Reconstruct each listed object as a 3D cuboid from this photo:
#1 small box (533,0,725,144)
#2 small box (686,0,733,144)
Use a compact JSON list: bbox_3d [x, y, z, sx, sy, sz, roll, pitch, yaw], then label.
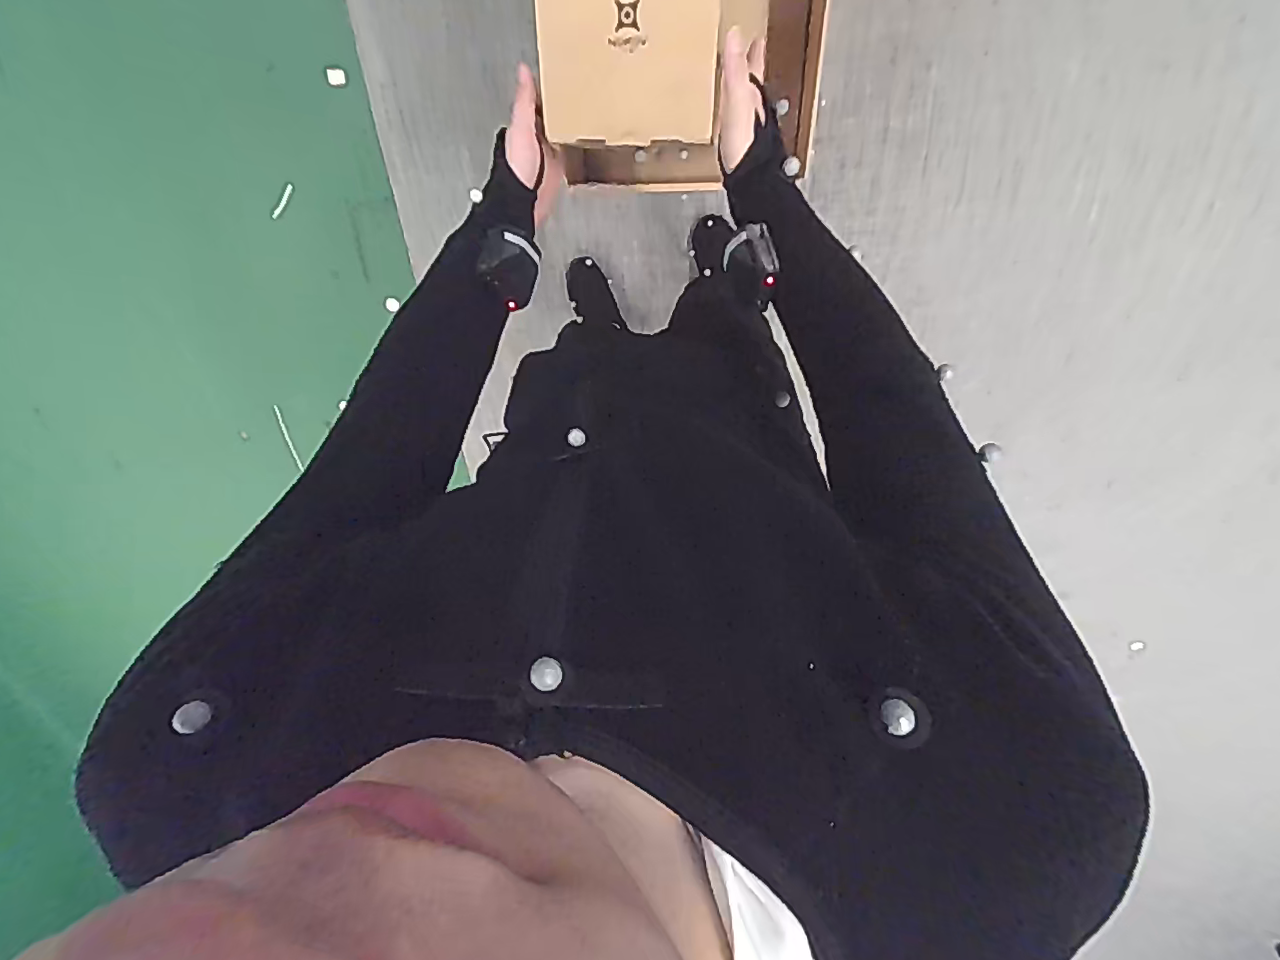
[{"bbox_3d":[-0.002,-0.444,0.545,0.168,0.176,0.179,4,122,7],"label":"small box"},{"bbox_3d":[0.026,-0.529,0.682,0.168,0.176,0.179,5,120,7],"label":"small box"}]
